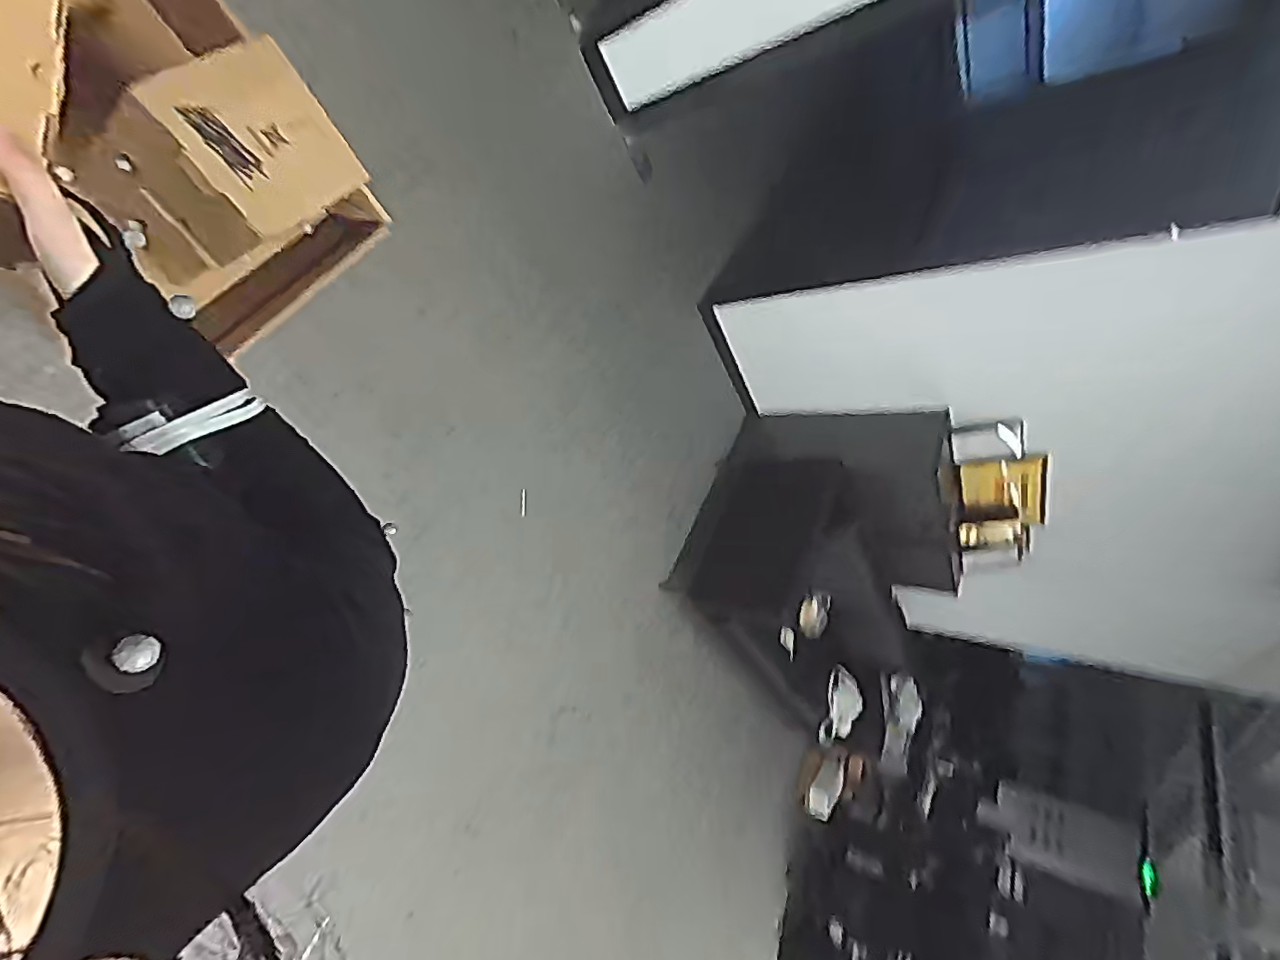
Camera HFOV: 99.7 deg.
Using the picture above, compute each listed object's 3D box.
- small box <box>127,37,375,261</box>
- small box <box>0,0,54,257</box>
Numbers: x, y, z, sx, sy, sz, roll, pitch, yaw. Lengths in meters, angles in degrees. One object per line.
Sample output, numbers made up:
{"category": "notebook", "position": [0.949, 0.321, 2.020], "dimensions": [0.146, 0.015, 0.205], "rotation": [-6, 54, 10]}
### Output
{"category": "small box", "position": [-0.485, -0.401, 0.678], "dimensions": [0.179, 0.176, 0.168], "rotation": [-57, 134, -31]}
{"category": "small box", "position": [-0.483, -0.255, 0.320], "dimensions": [0.179, 0.176, 0.168], "rotation": [5, 86, -49]}
